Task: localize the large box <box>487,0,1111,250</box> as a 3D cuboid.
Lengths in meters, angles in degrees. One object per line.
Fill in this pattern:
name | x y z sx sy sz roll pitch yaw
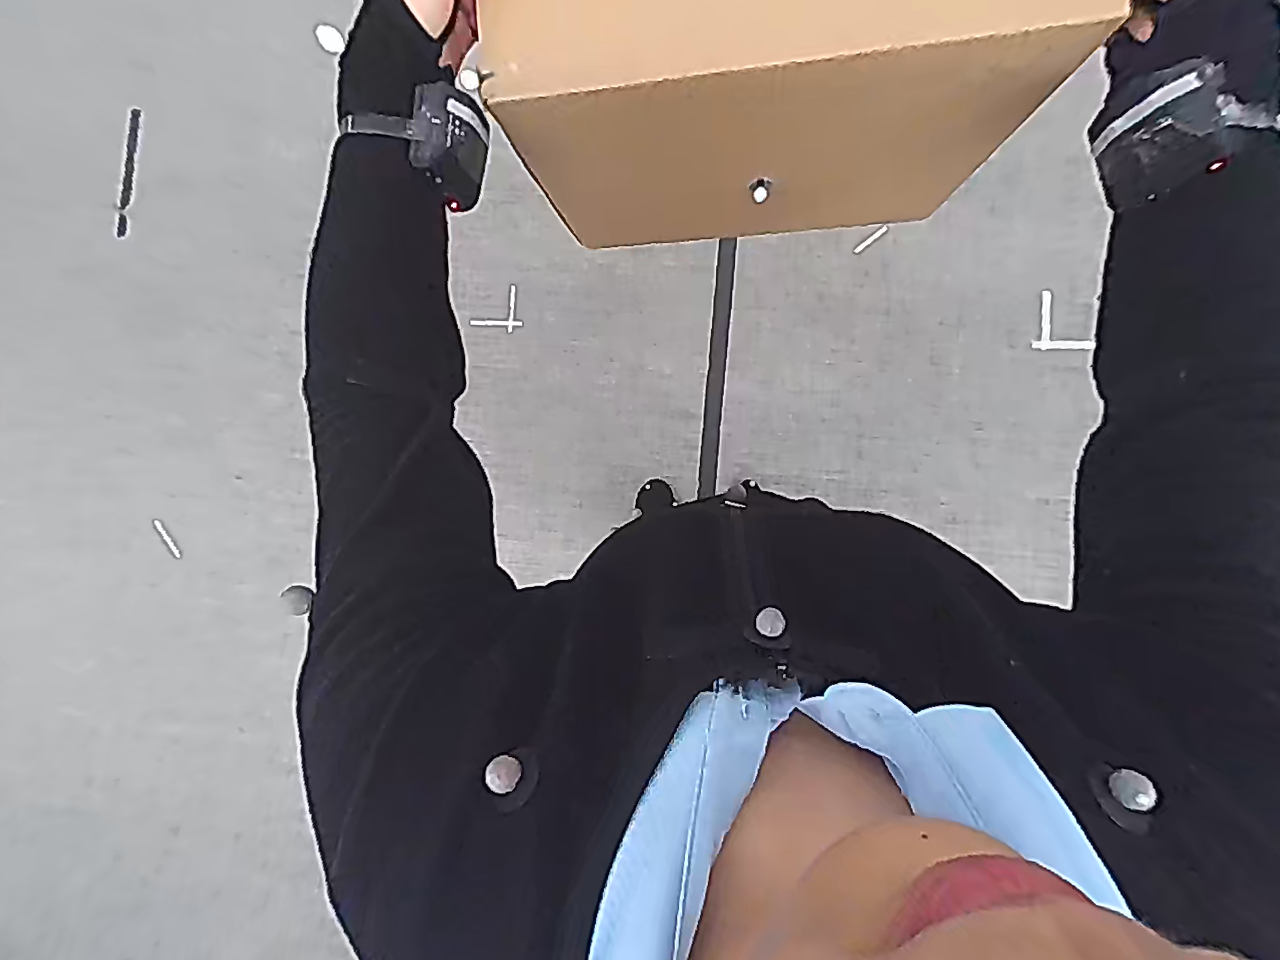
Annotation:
large box | 0.106 -0.433 0.494 0.408 0.320 0.320 -2 94 9
